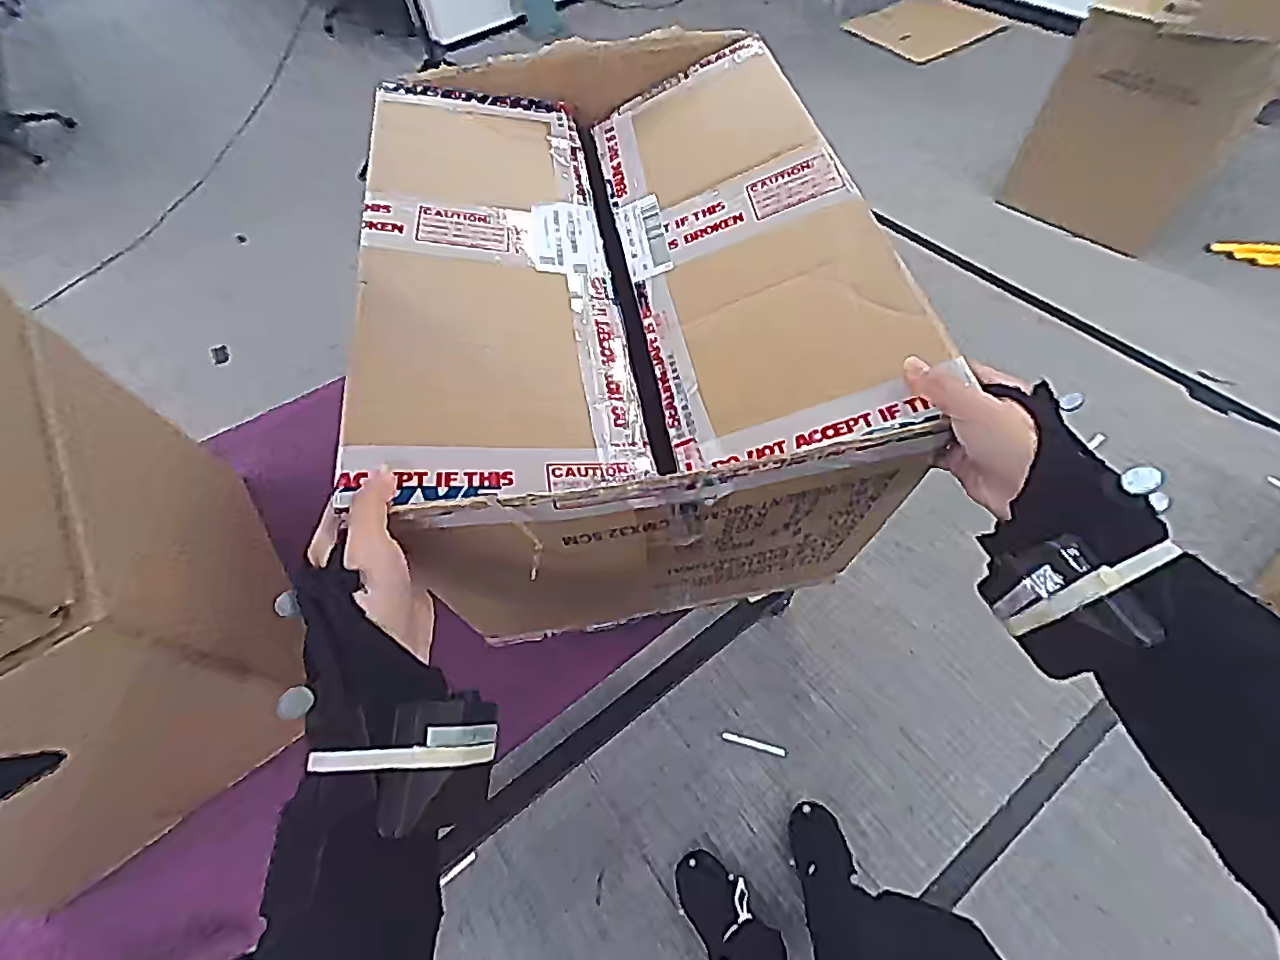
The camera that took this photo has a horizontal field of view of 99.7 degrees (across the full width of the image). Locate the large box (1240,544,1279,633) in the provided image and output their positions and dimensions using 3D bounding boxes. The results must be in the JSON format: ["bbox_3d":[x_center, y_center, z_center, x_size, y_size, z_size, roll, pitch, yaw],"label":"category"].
[{"bbox_3d":[1.660,0.201,1.151,0.408,0.320,0.320,-36,62,-15],"label":"large box"}]
